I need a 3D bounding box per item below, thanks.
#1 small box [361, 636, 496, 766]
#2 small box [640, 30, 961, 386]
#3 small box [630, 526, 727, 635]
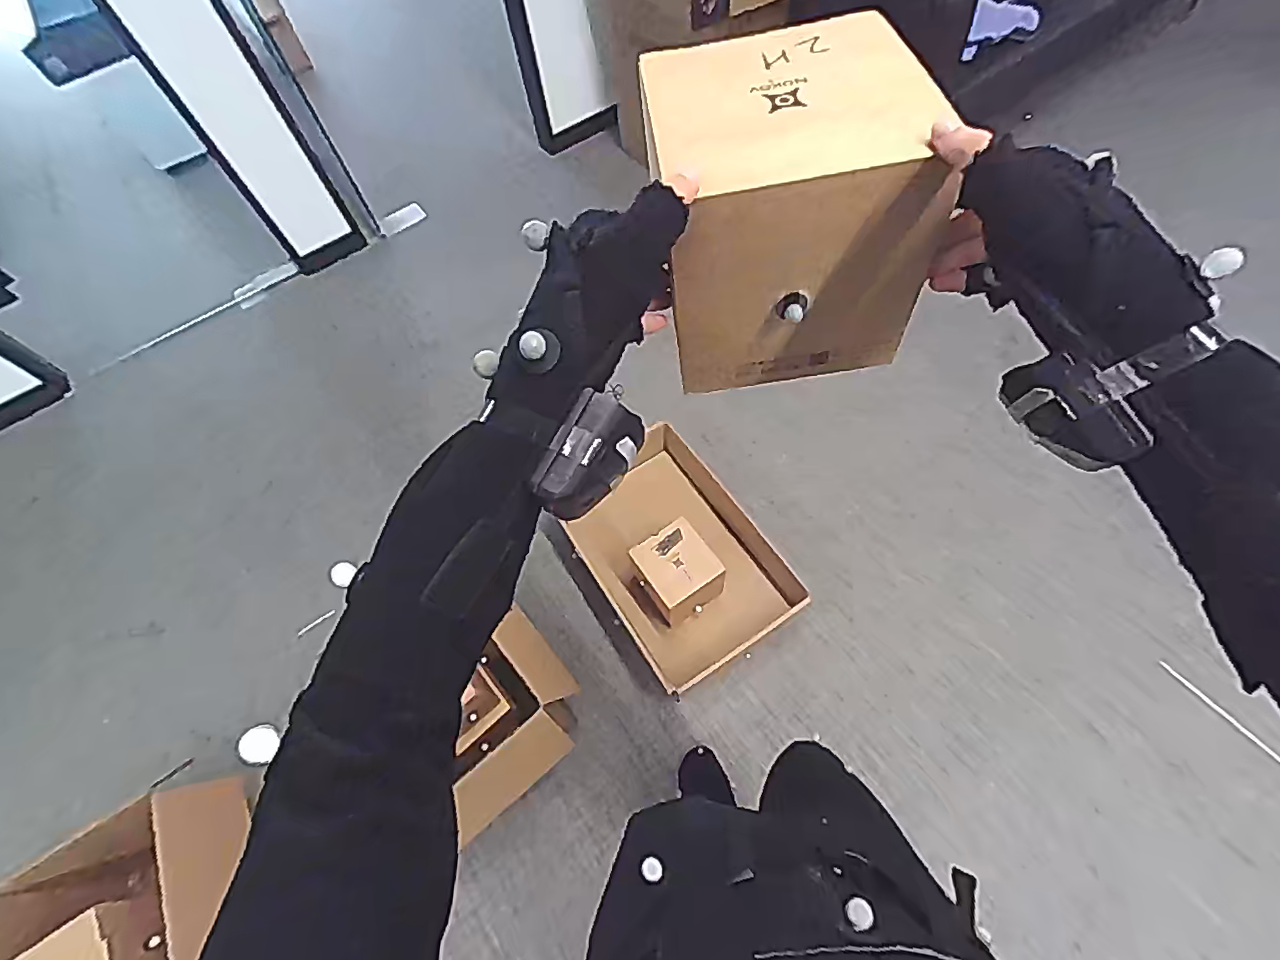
[{"bbox_3d":[-0.423,0.454,1.108,0.168,0.176,0.179,-38,65,-17],"label":"small box"},{"bbox_3d":[0.097,-0.187,0.405,0.168,0.176,0.179,-8,58,3],"label":"small box"},{"bbox_3d":[0.093,0.252,1.332,0.168,0.176,0.179,-32,61,-13],"label":"small box"}]
